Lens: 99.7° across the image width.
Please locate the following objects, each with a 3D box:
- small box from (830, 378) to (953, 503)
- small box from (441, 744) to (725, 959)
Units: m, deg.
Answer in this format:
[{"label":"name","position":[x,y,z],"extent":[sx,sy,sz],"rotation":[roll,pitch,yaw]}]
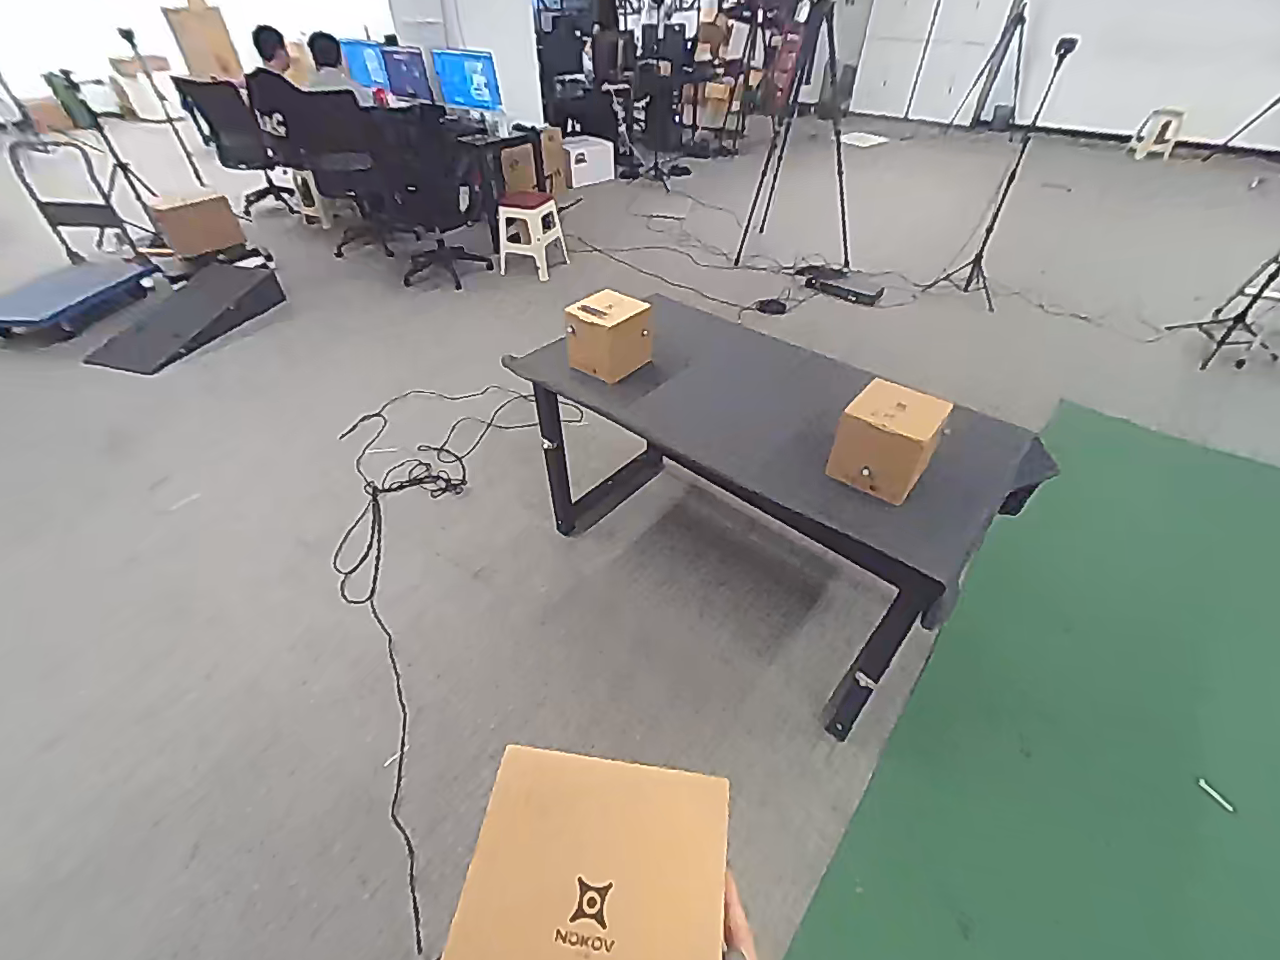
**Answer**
[{"label":"small box","position":[0.521,-0.085,1.141],"extent":[0.168,0.176,0.179],"rotation":[28,49,30]},{"label":"small box","position":[-0.030,0.323,0.397],"extent":[0.168,0.176,0.179],"rotation":[4,48,8]}]
